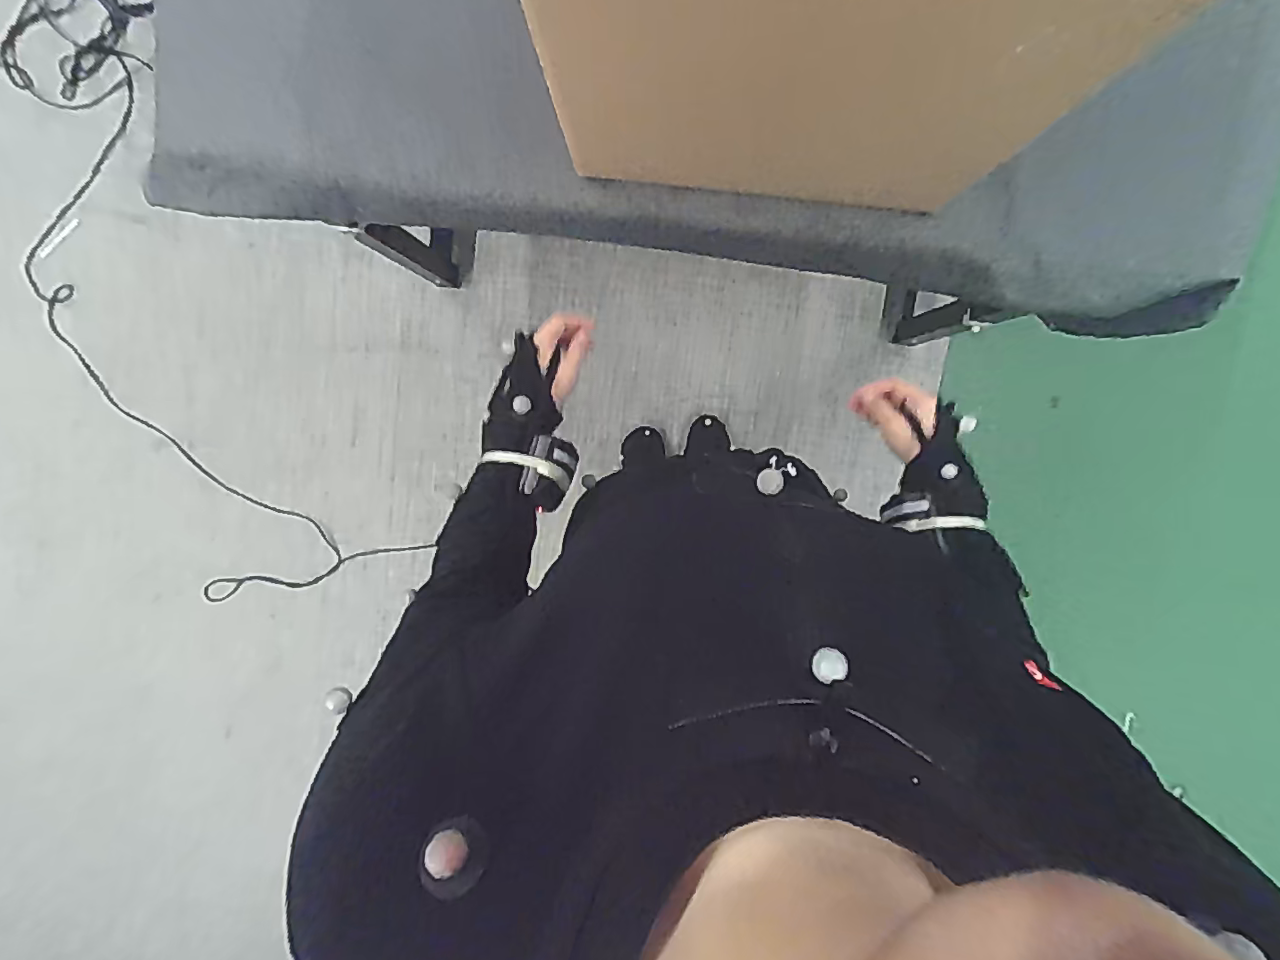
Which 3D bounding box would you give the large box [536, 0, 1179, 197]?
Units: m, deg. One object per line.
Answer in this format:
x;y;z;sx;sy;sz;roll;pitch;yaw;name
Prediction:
0.137;-0.459;0.433;0.408;0.320;0.320;5;97;0;large box
